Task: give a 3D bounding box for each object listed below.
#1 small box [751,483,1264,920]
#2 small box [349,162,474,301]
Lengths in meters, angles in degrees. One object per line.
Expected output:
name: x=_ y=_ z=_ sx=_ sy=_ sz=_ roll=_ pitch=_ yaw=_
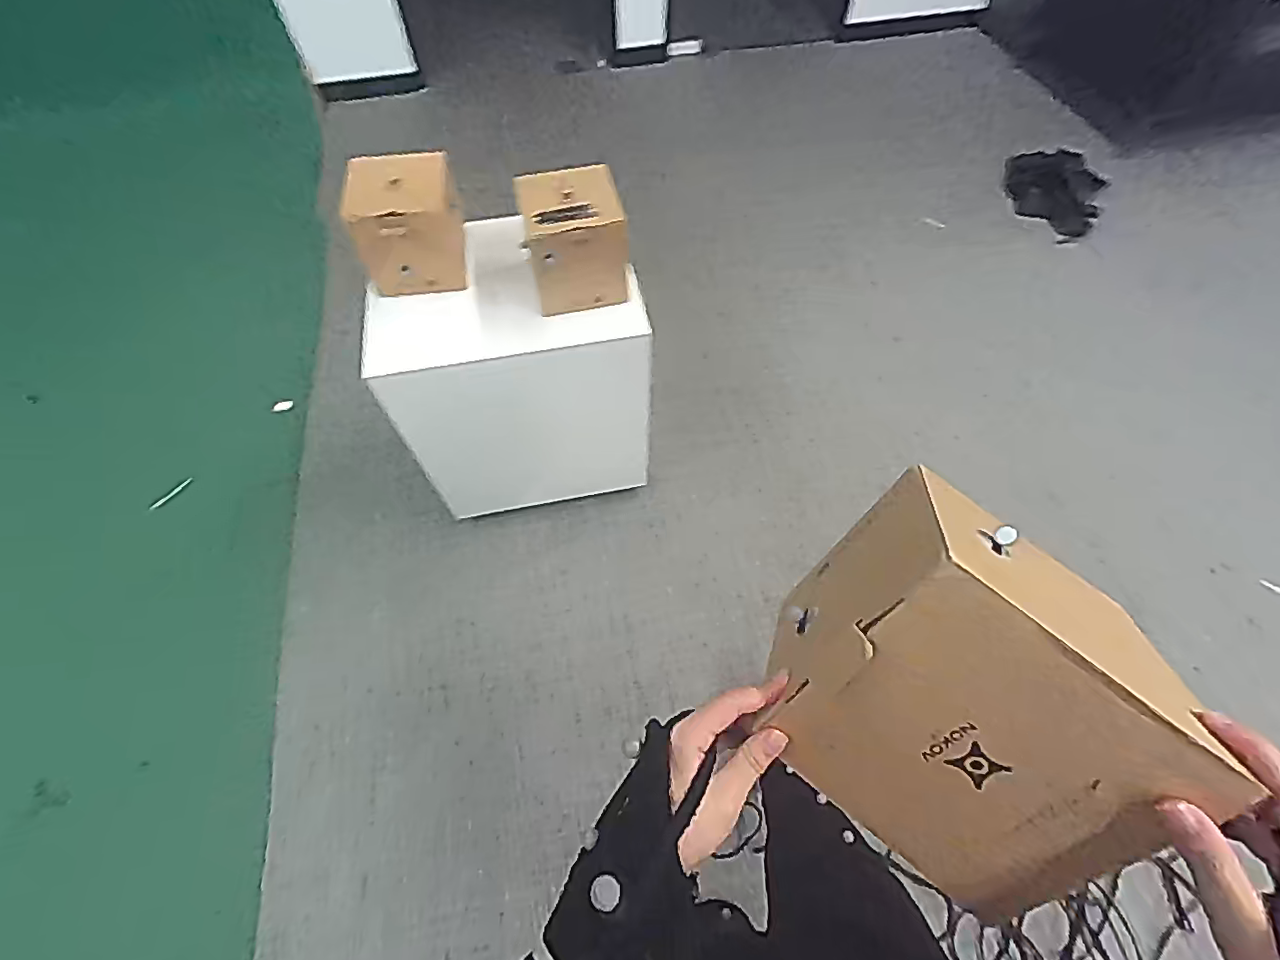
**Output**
small box: x=0.202 y=0.121 z=0.359 sx=0.179 sy=0.168 sz=0.176 roll=35 pitch=27 yaw=6
small box: x=-0.413 y=-0.460 z=1.008 sx=0.168 sy=0.176 sz=0.179 roll=-7 pitch=60 yaw=-5
